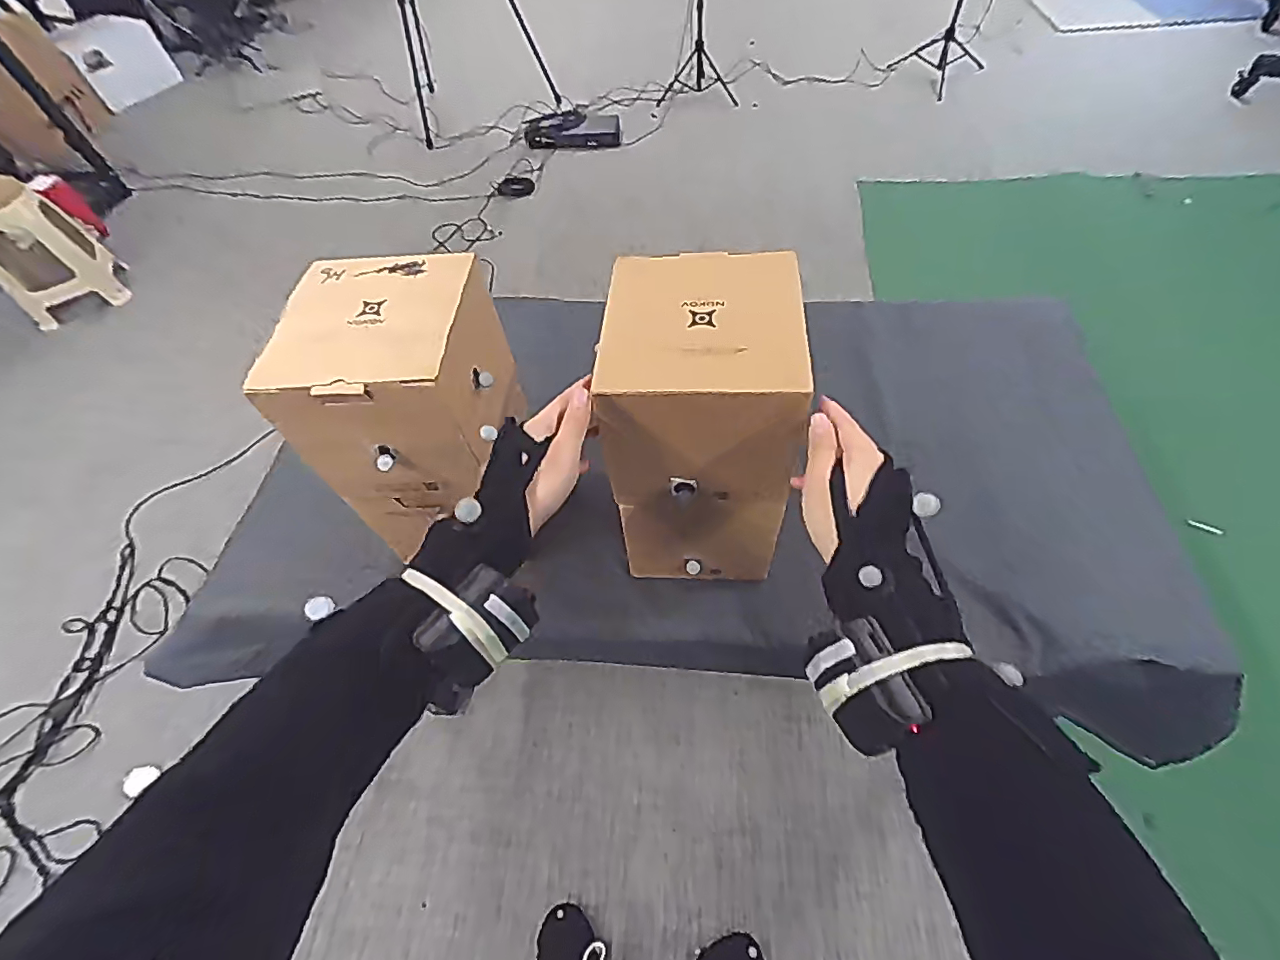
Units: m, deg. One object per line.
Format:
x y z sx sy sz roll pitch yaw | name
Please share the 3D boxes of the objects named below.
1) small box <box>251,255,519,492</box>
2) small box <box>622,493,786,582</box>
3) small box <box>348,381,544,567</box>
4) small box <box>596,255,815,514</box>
-0.230 -0.097 0.547 0.168 0.176 0.179 -2 56 4 | small box
0.073 0.005 0.646 0.168 0.176 0.179 0 55 6 | small box
-0.224 -0.006 0.684 0.168 0.176 0.179 -1 55 4 | small box
0.060 -0.088 0.512 0.168 0.176 0.179 1 54 7 | small box
